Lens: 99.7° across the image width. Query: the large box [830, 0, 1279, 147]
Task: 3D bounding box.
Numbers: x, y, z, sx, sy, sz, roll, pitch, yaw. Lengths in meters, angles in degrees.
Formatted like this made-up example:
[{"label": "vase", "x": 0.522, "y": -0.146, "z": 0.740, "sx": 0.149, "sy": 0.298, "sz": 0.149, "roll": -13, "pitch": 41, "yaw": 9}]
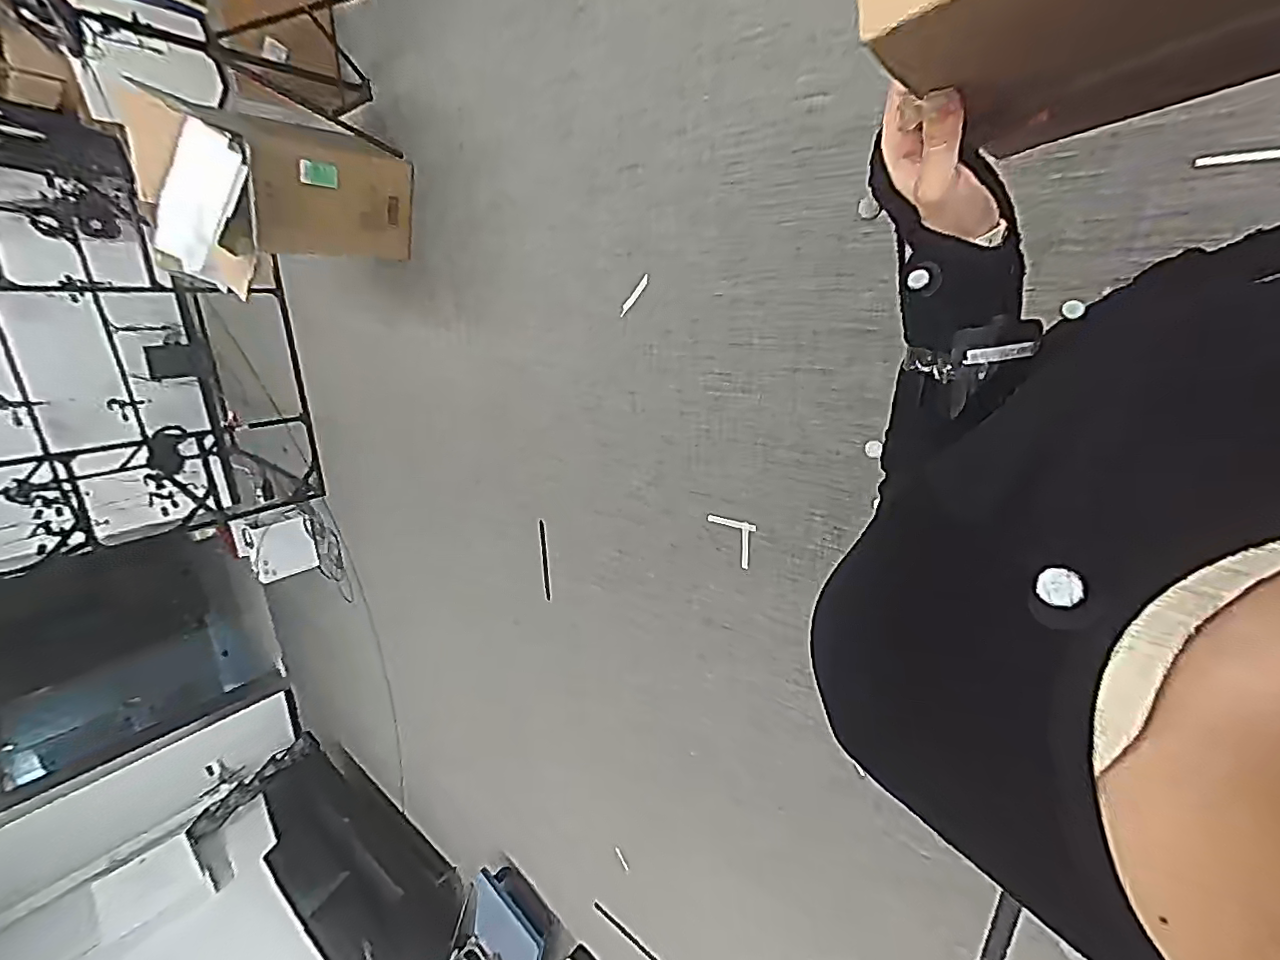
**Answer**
[{"label": "large box", "x": 0.295, "y": -0.369, "z": 0.165, "sx": 0.408, "sy": 0.320, "sz": 0.320, "roll": 1, "pitch": 108, "yaw": 43}]
